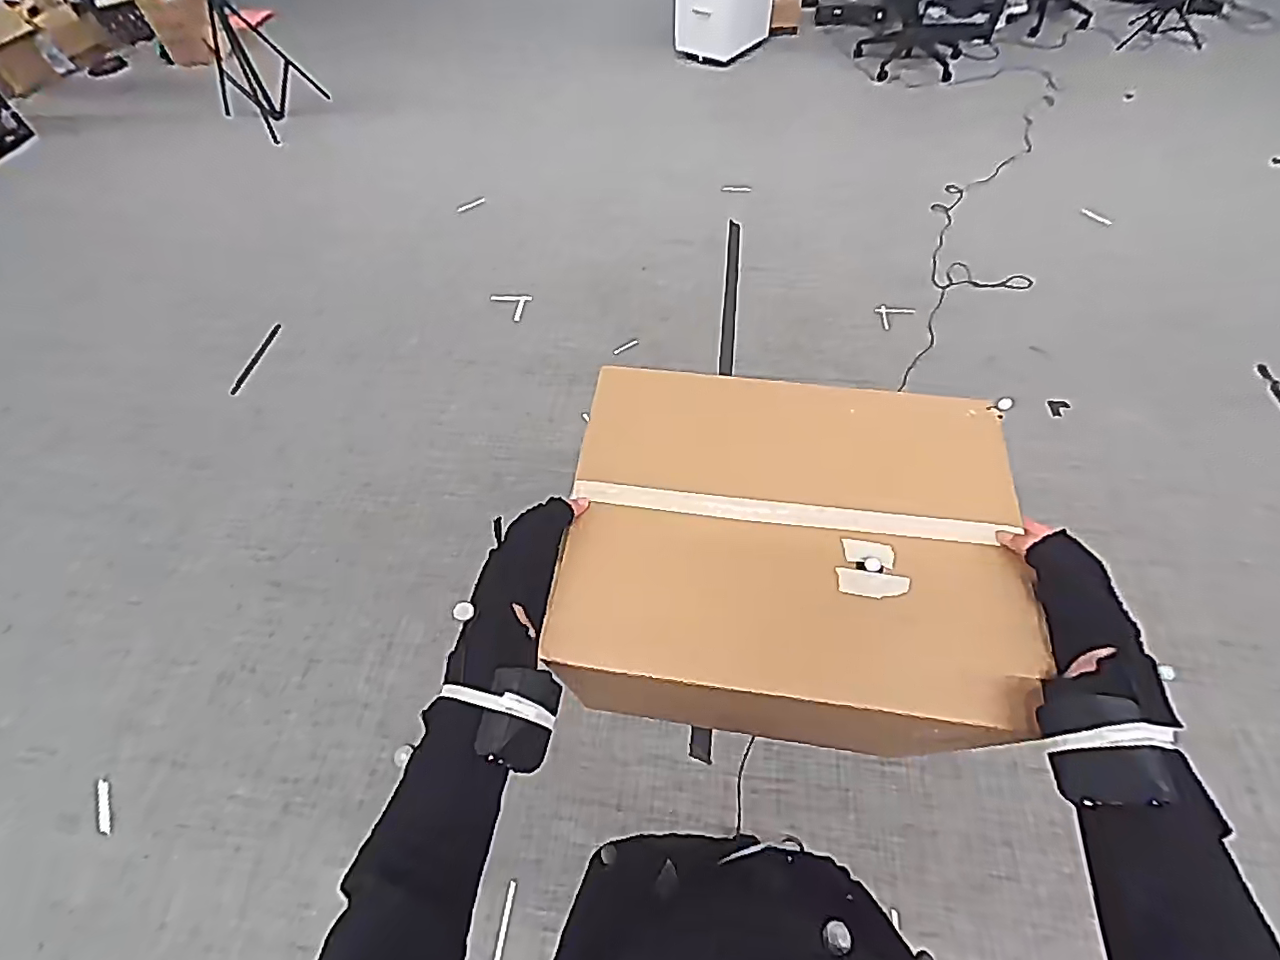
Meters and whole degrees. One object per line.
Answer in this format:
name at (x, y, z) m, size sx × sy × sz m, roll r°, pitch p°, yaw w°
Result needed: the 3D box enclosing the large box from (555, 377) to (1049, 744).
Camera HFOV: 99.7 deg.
large box at (0.143, 0.108, 0.636) m, size 0.408 × 0.320 × 0.320 m, roll 6°, pitch 62°, yaw 5°
